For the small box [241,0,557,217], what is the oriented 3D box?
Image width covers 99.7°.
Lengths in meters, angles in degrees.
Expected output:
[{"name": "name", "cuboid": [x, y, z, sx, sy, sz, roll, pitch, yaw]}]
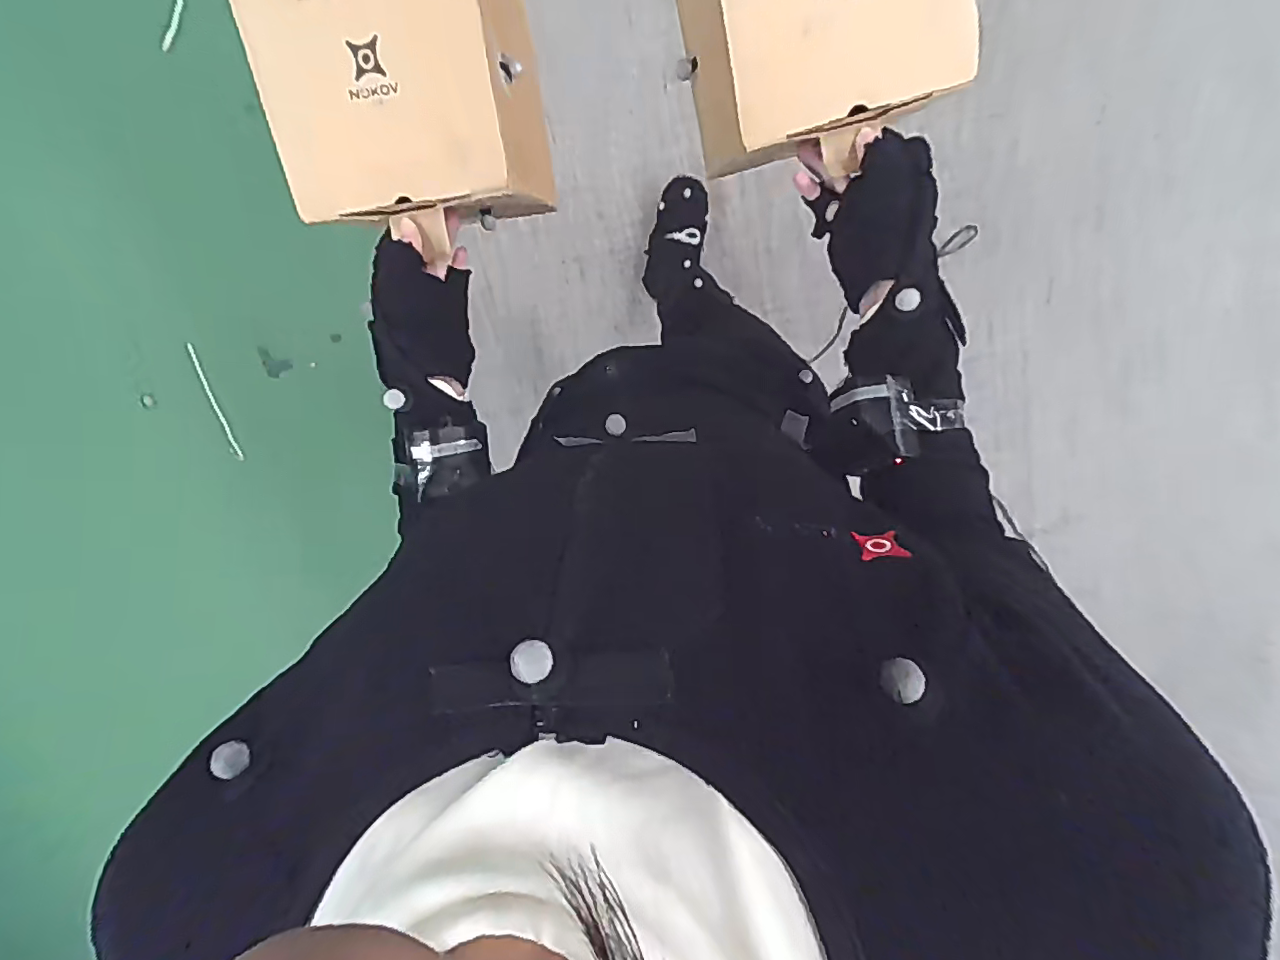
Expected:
[{"name": "small box", "cuboid": [-0.174, -0.322, 0.440, 0.168, 0.176, 0.179, -6, 111, 6]}]
